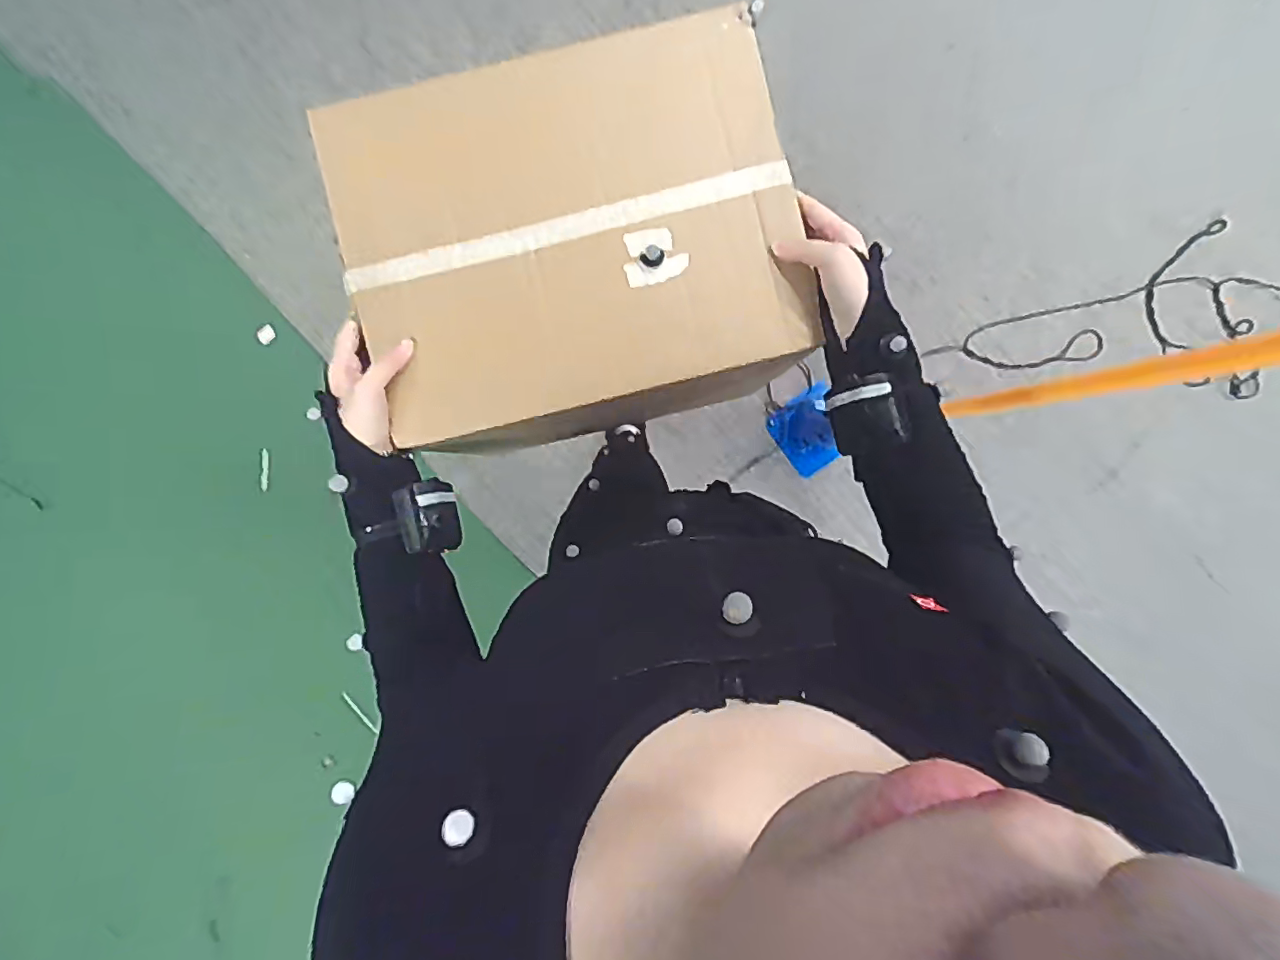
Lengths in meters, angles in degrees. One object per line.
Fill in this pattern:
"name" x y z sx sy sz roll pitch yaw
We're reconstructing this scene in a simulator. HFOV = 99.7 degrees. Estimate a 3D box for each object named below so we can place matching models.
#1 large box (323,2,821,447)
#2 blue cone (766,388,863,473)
"large box" -0.064 -0.241 0.640 0.408 0.320 0.320 -14 92 -1
"blue cone" 0.457 -0.124 1.294 0.192 0.380 0.193 -35 91 4
